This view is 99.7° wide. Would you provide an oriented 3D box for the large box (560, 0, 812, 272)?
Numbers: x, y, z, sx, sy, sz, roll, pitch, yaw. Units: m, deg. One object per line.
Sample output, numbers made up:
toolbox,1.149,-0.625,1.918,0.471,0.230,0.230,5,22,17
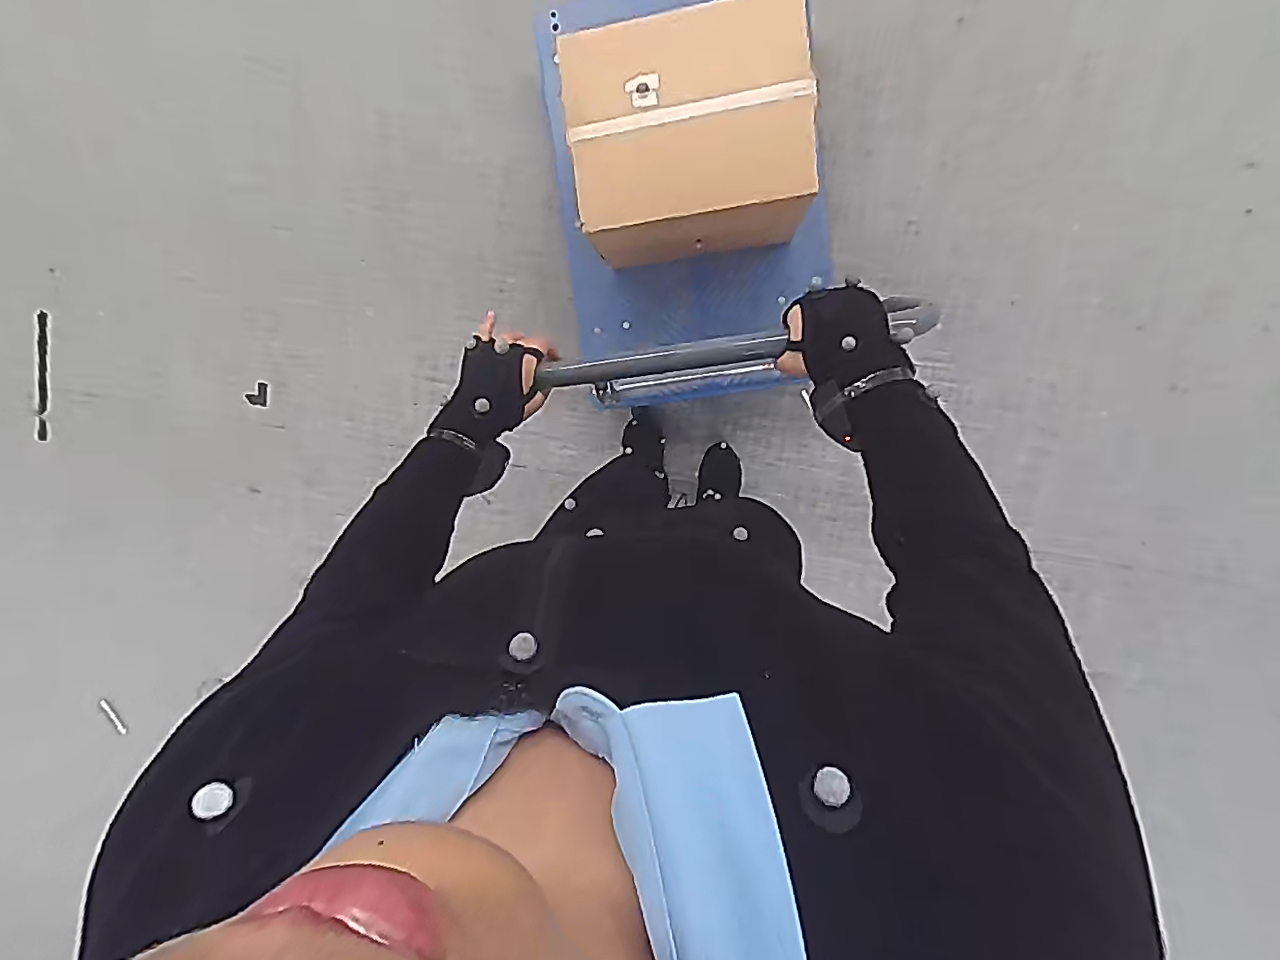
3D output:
large box,0.097,-0.627,1.064,0.408,0.320,0.320,-6,98,9
